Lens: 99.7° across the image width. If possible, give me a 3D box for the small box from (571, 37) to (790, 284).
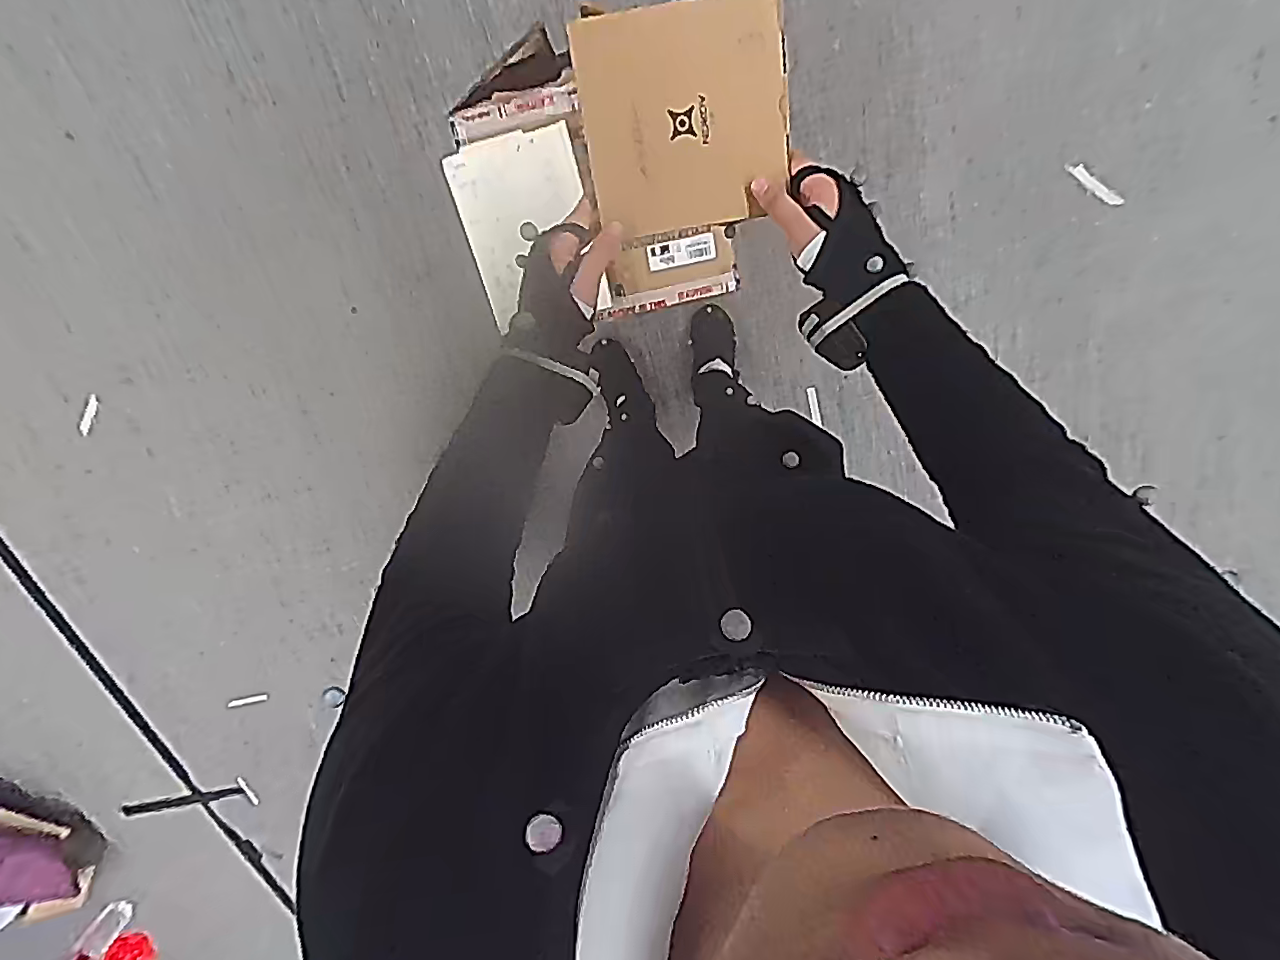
[{"bbox_3d":[0.036,-0.299,0.536,0.179,0.176,0.168,-10,114,1],"label":"small box"}]
